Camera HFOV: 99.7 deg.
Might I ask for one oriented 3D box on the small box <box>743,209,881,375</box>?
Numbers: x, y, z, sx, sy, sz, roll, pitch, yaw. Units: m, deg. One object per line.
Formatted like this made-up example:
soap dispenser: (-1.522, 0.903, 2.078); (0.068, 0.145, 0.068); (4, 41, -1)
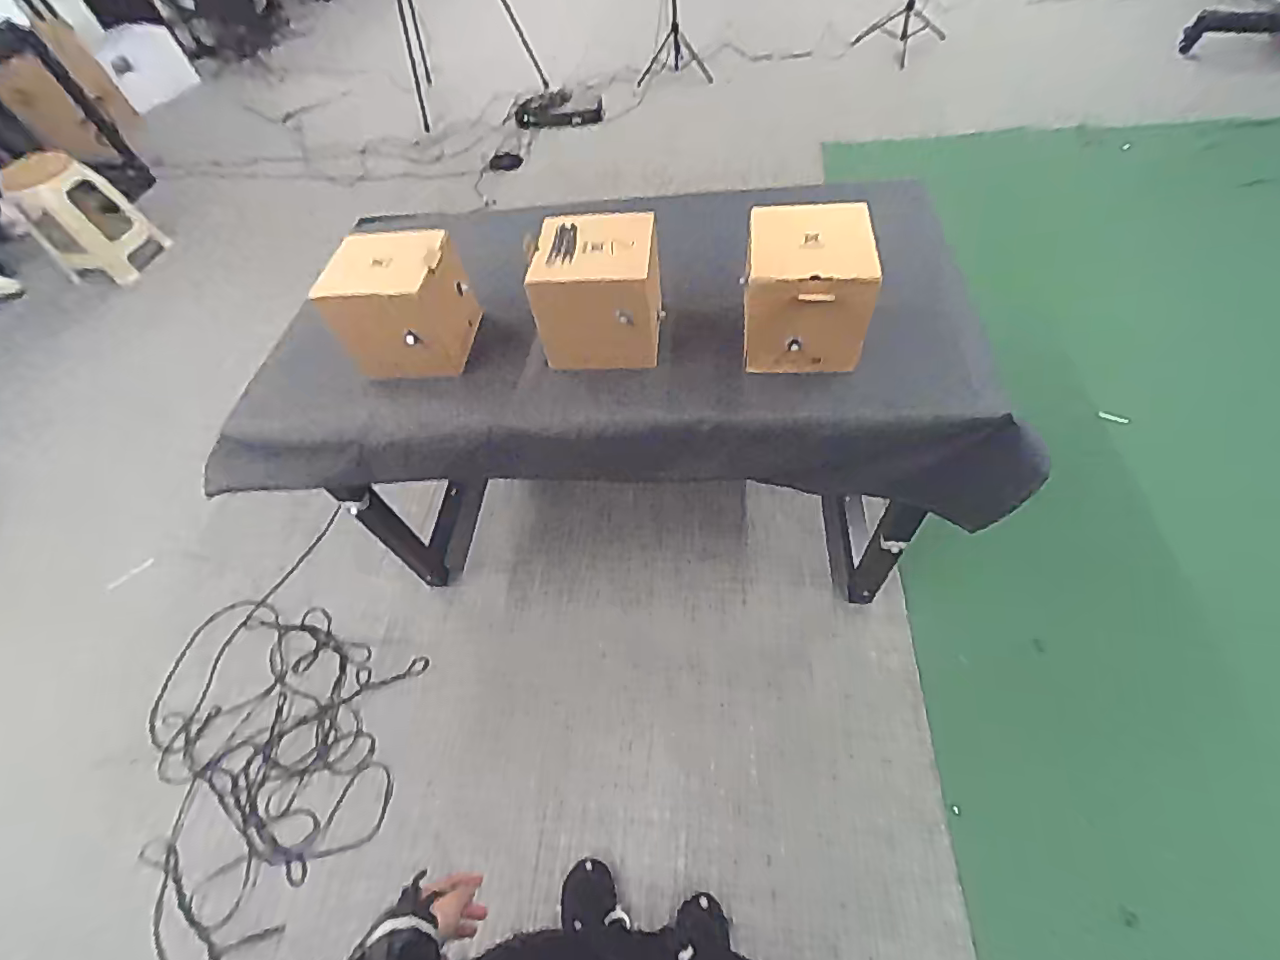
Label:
small box: (0.244, -0.280, 0.813); (0.168, 0.176, 0.179); (2, 56, 8)

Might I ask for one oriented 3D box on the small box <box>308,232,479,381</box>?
small box: (-0.385, -0.279, 0.887); (0.179, 0.176, 0.168); (-1, 54, 7)
